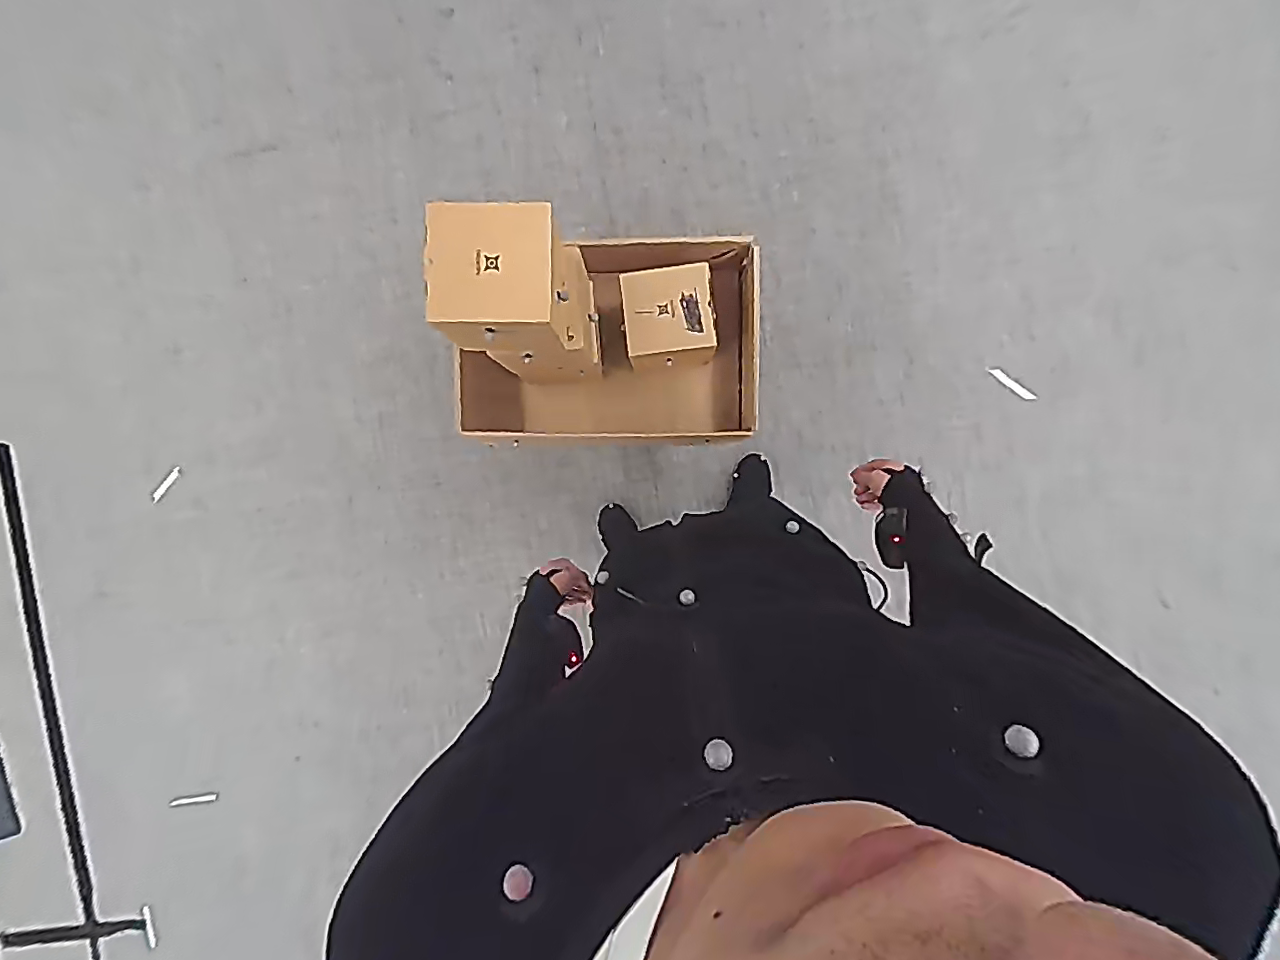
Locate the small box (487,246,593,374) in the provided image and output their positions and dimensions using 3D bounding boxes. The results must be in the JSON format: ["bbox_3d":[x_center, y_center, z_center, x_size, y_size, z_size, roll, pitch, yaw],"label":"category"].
[{"bbox_3d":[-0.177,-0.299,0.979,0.168,0.176,0.179,-3,90,1],"label":"small box"}]

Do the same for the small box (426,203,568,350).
[{"bbox_3d":[-0.205,-0.296,0.816,0.179,0.176,0.168,0,91,1],"label":"small box"}]
